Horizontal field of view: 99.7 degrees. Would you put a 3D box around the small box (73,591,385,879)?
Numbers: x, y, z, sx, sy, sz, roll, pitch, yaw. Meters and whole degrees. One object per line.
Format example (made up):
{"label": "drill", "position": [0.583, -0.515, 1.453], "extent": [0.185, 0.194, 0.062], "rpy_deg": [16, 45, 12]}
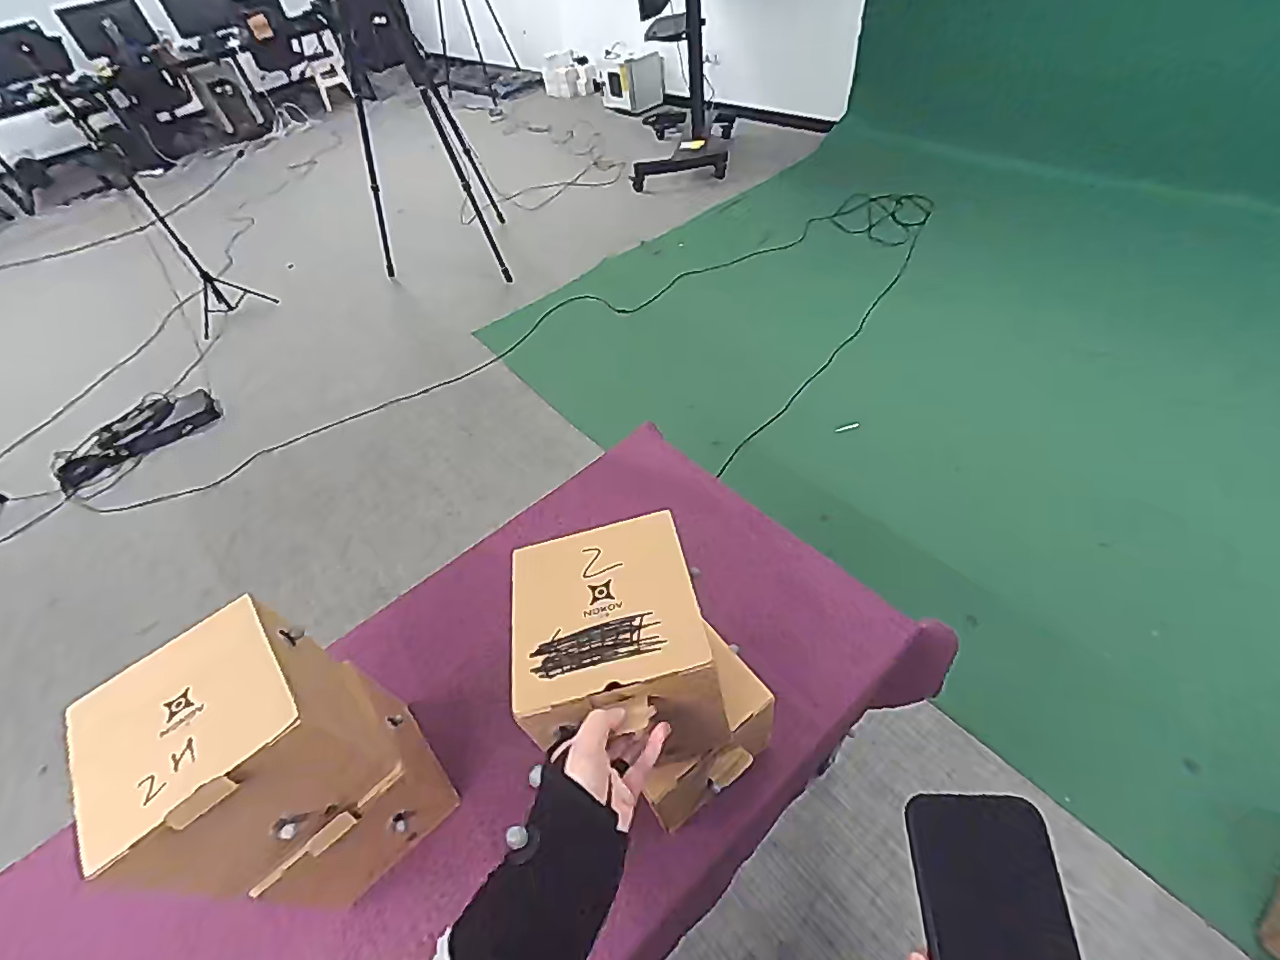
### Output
{"label": "small box", "position": [-0.392, 0.252, 0.535], "extent": [0.168, 0.176, 0.179], "rpy_deg": [-37, 54, -21]}

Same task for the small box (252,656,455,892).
{"label": "small box", "position": [-0.356, 0.358, 0.657], "extent": [0.168, 0.176, 0.179], "rpy_deg": [-37, 53, -21]}

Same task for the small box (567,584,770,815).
{"label": "small box", "position": [0.036, 0.269, 0.662], "extent": [0.168, 0.176, 0.179], "rpy_deg": [-33, 53, -17]}
